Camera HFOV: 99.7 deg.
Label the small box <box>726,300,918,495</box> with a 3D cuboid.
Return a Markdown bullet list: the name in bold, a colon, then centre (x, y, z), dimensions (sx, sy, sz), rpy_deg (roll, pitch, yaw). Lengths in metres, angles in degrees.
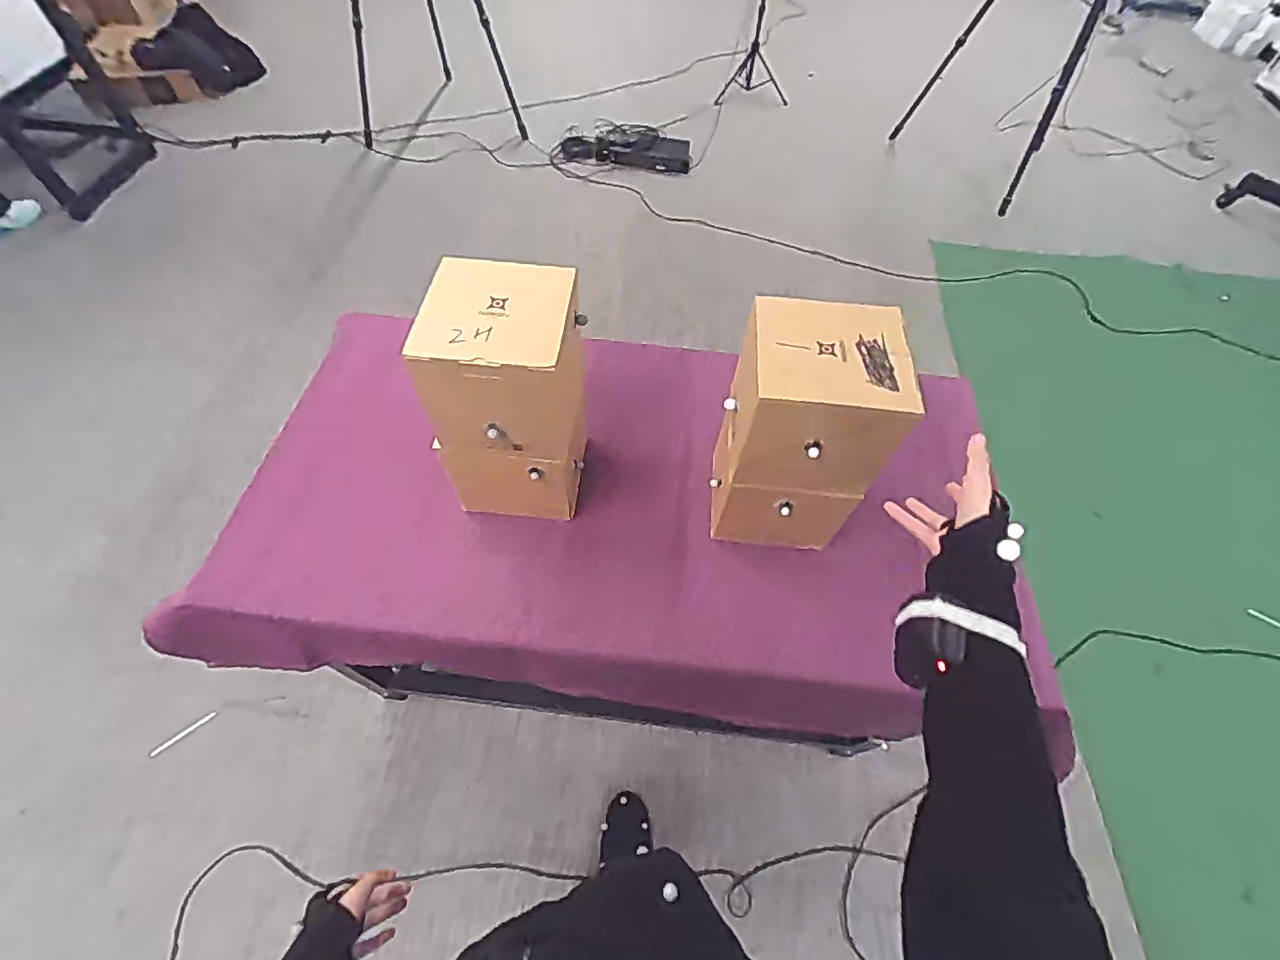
- **small box**: centre (0.210, -0.096, 0.674), dimensions (0.179, 0.176, 0.168), rpy_deg (6, 57, 2)

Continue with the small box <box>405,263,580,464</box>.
- **small box**: centre (-0.169, -0.144, 0.687), dimensions (0.168, 0.176, 0.179), rpy_deg (5, 56, 0)

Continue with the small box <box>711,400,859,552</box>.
- **small box**: centre (0.204, -0.004, 0.810), dimensions (0.179, 0.176, 0.168), rpy_deg (7, 57, 1)

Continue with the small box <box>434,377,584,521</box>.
- **small box**: centre (-0.185, -0.050, 0.822), dimensions (0.179, 0.176, 0.168), rpy_deg (5, 56, 0)
